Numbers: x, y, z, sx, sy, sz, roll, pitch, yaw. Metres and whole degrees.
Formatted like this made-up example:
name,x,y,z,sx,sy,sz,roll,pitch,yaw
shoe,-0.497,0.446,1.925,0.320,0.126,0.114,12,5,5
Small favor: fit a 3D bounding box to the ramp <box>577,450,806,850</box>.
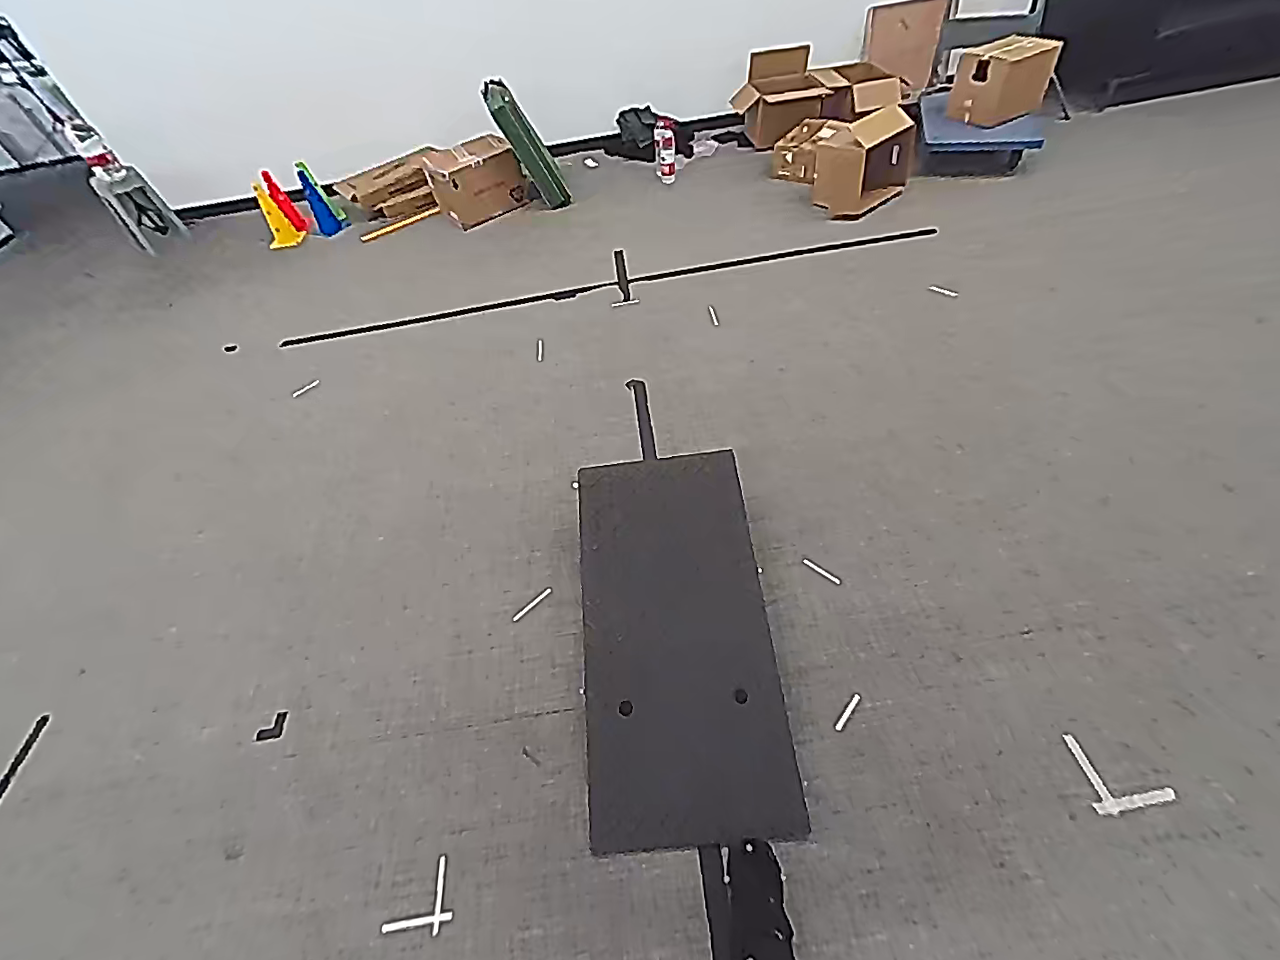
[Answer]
name,x,y,z,sx,sy,sz,roll,pitch,yaw
ramp,0.088,0.368,1.444,0.509,0.206,0.991,-8,50,1
